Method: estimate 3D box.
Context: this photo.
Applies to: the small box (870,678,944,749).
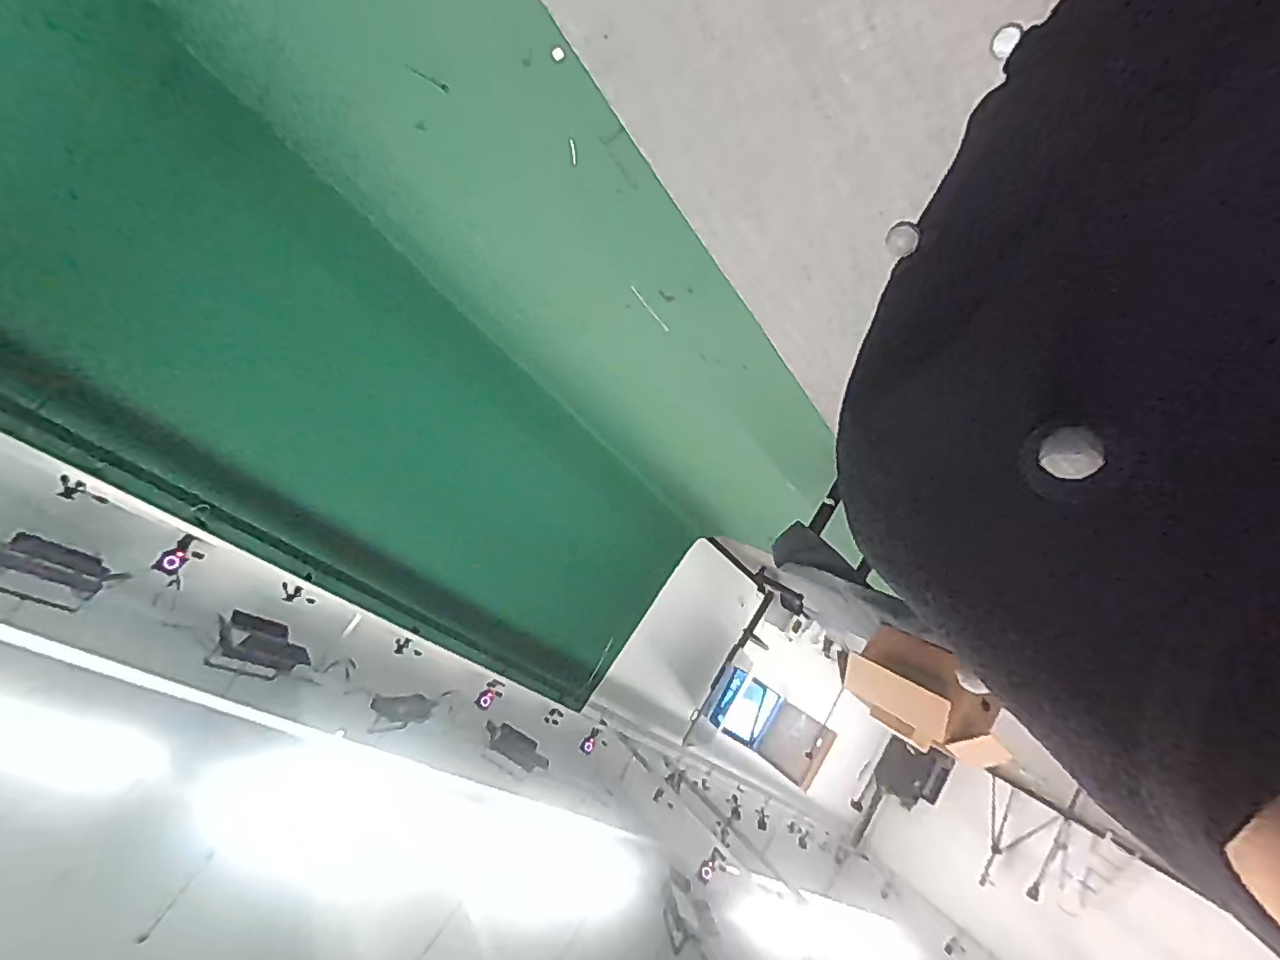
[{"bbox_3d":[1.036,0.895,2.093,0.168,0.176,0.179,42,167,-32],"label":"small box"}]
